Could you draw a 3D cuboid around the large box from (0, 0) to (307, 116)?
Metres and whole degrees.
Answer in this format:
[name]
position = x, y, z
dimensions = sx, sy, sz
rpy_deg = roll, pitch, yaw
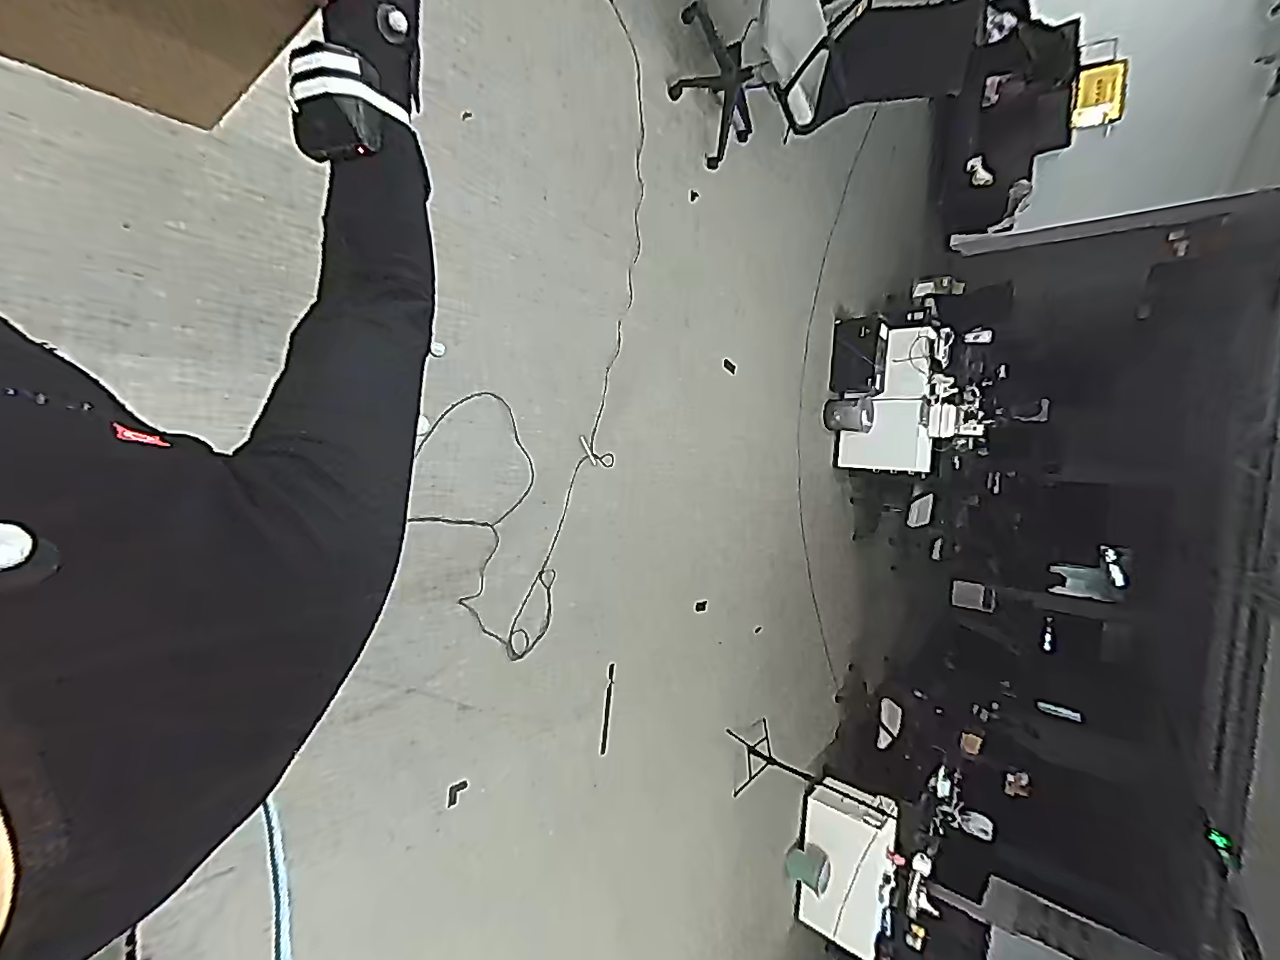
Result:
[large box]
position = -0.454, -0.494, 0.298
dimensions = 0.408, 0.320, 0.320
rpy_deg = -4, 100, -52
